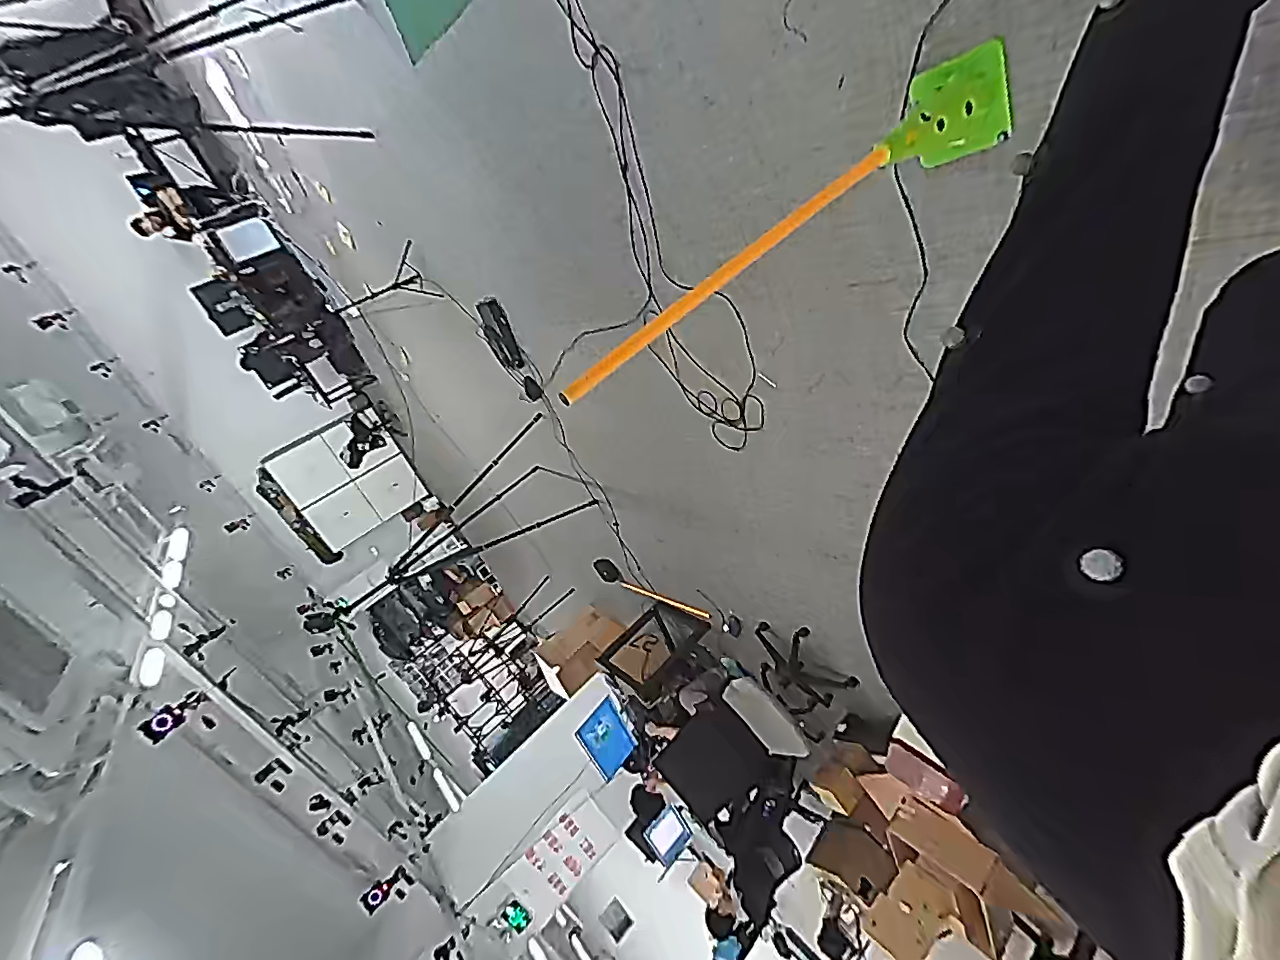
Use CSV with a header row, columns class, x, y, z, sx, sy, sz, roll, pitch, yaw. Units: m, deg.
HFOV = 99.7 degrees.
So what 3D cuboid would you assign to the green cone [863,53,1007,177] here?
class,x,y,z,sx,sy,sz,roll,pitch,yaw
green cone,0.609,-0.746,1.181,0.202,0.368,0.200,13,133,55
